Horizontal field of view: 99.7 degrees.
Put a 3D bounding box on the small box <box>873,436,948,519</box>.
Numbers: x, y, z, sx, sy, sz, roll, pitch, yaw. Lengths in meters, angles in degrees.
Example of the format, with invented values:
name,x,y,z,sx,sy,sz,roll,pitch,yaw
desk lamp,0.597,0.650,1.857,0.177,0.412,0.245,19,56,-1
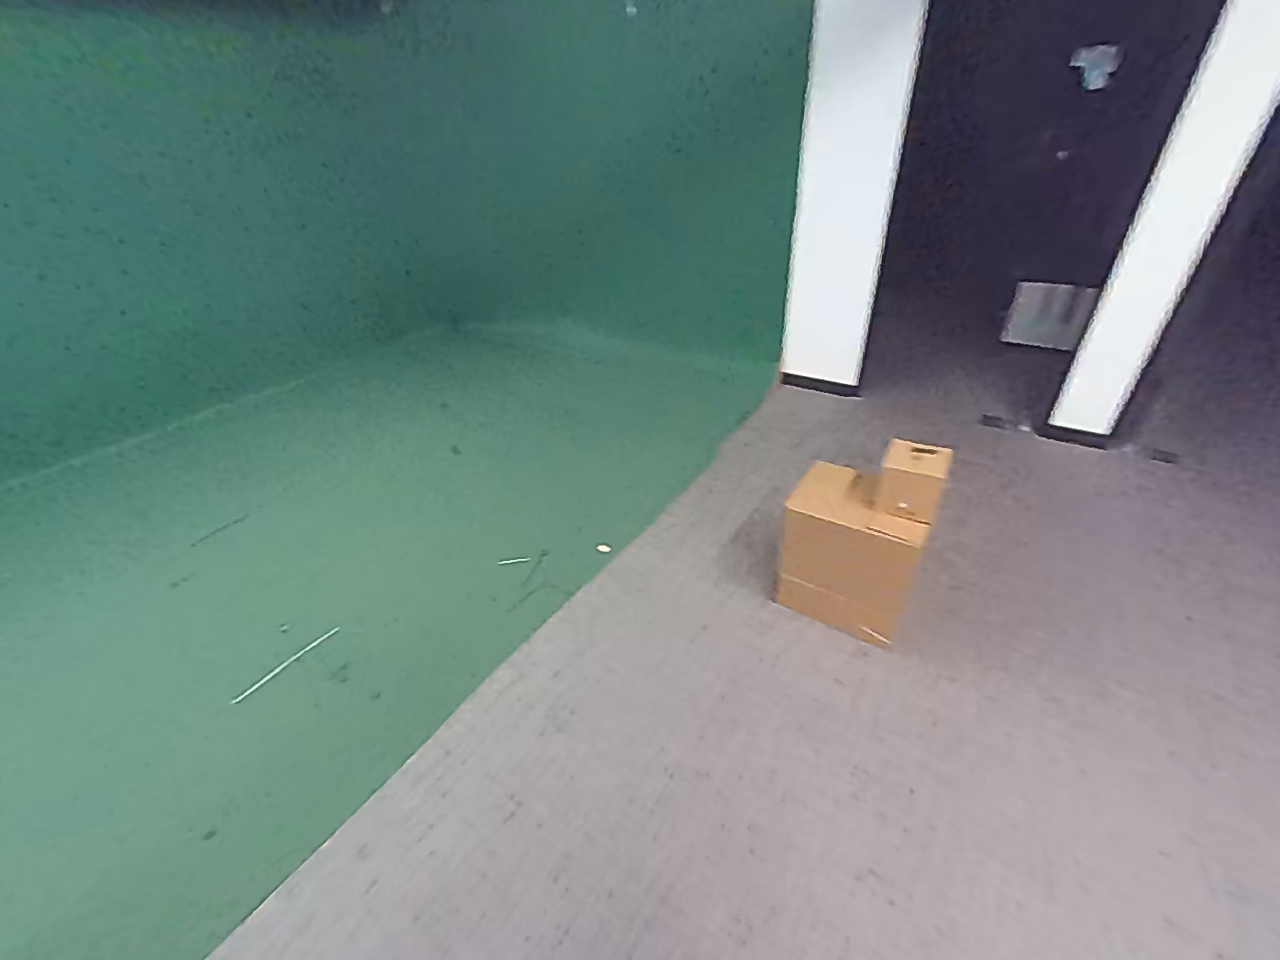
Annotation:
name,x,y,z,sx,sy,sz,roll,pitch,yaw
small box,0.823,-0.009,1.652,0.168,0.176,0.179,15,40,28
